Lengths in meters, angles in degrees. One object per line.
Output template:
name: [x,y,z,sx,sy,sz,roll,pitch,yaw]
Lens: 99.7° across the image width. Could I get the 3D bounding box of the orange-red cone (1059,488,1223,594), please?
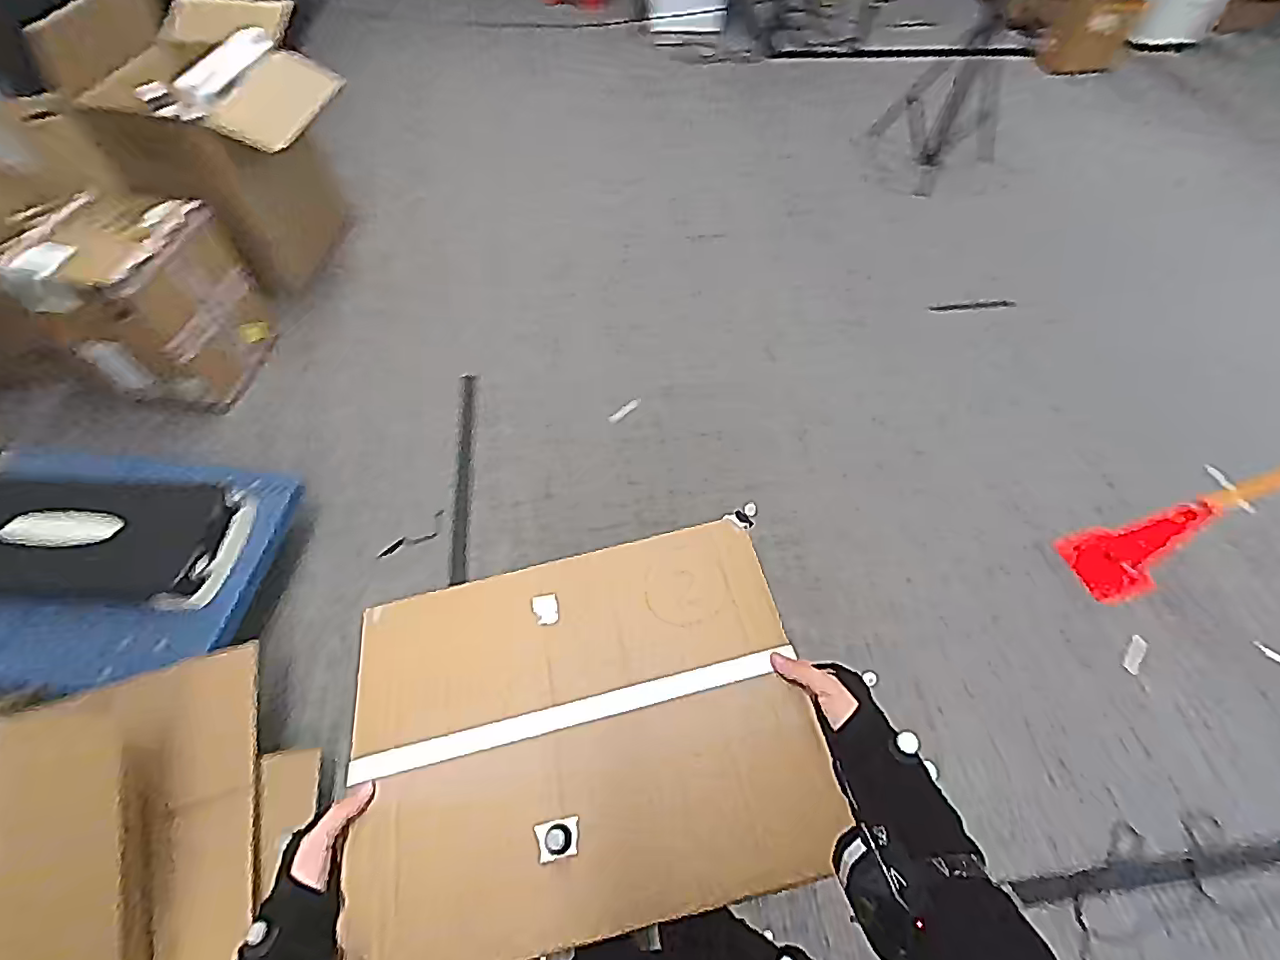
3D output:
orange-red cone: [1.349,0.129,1.423,0.198,0.360,0.199,-13,57,-11]
